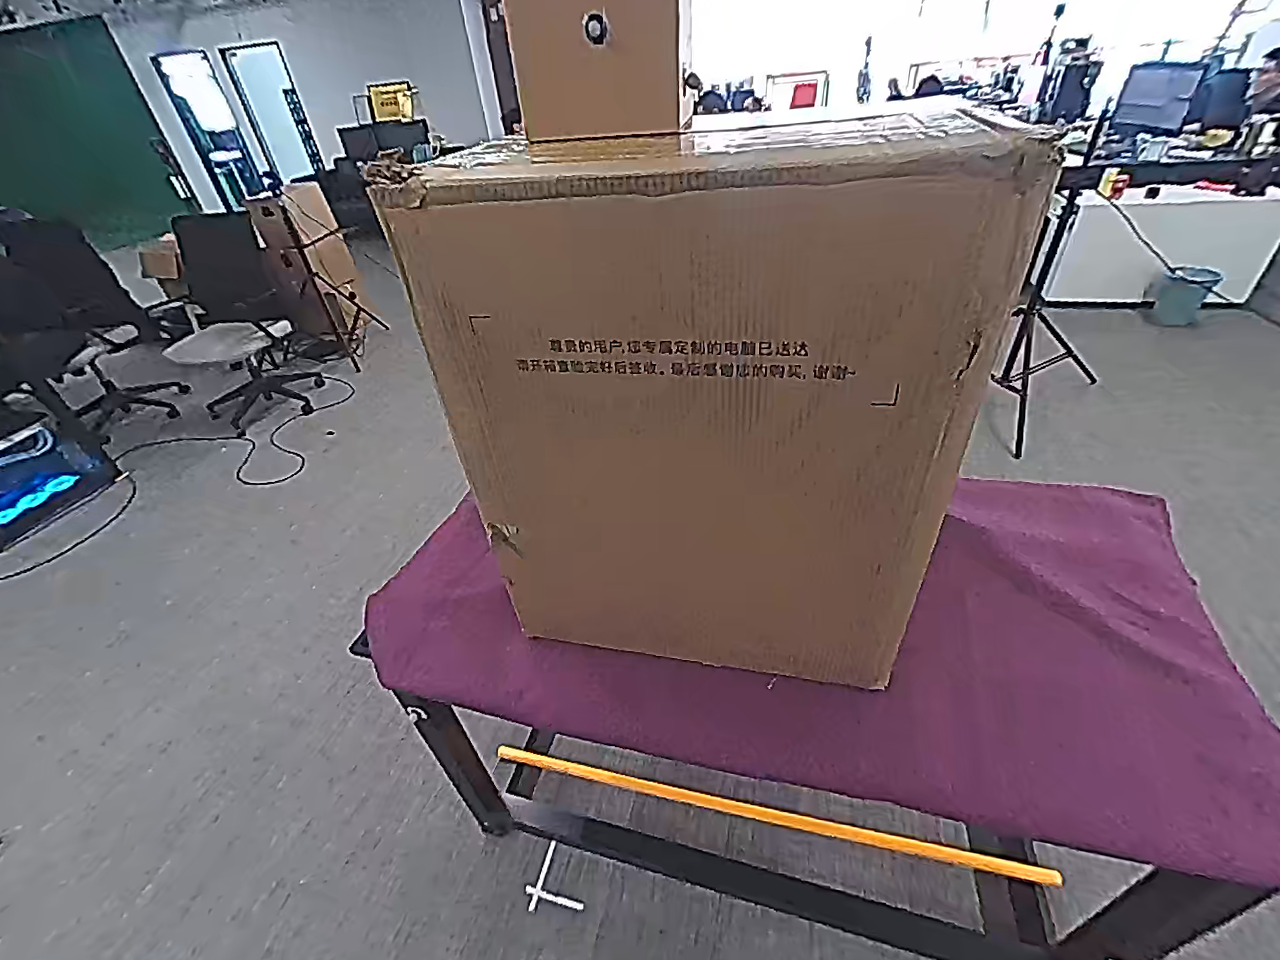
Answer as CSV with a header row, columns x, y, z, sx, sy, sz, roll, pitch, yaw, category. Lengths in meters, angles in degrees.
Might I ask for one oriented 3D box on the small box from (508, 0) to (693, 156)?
x,y,z,sx,sy,sz,roll,pitch,yaw,category
-0.032,-0.463,0.583,0.168,0.176,0.179,3,38,9,small box
